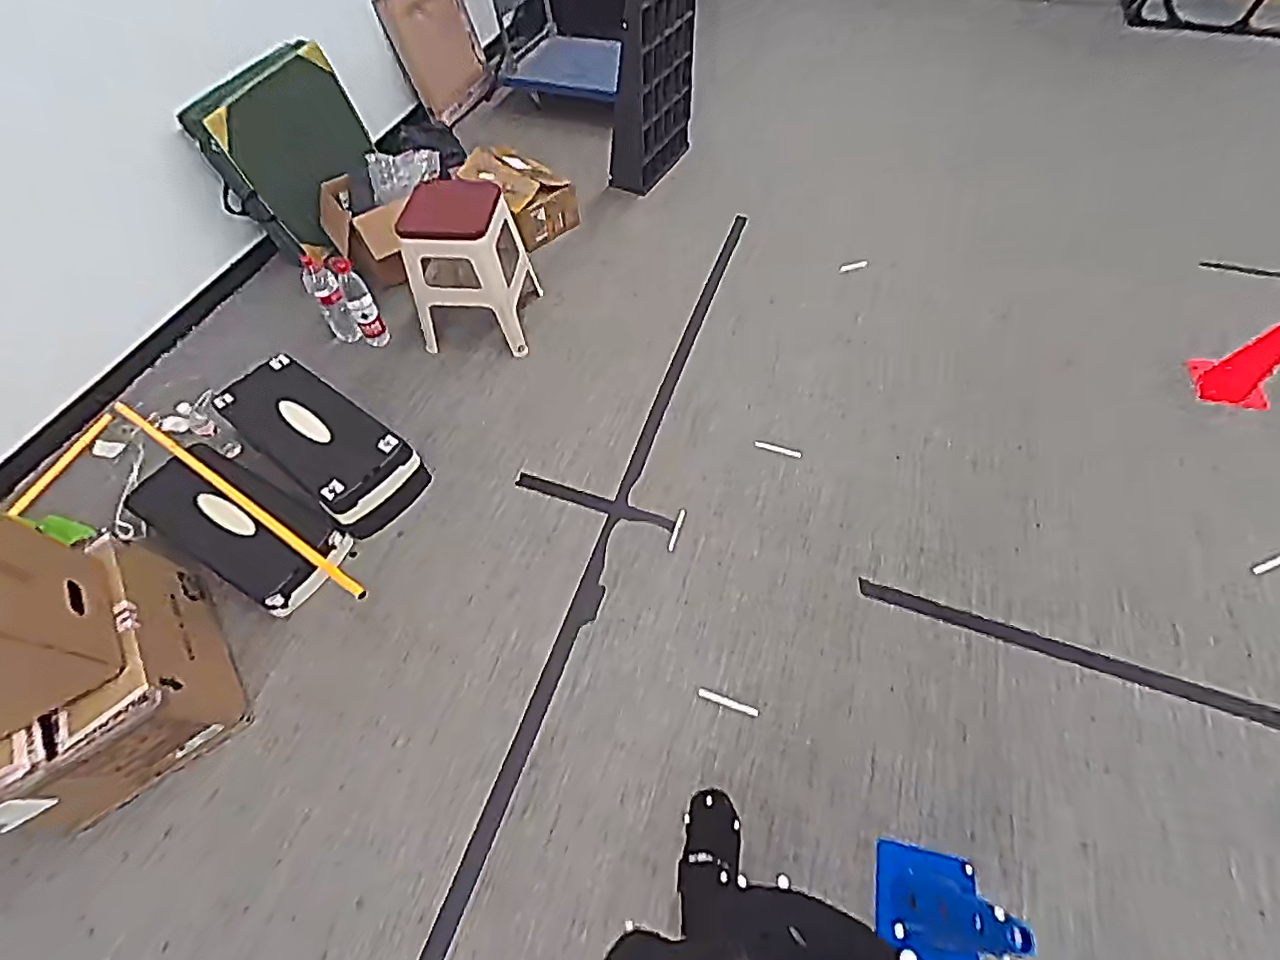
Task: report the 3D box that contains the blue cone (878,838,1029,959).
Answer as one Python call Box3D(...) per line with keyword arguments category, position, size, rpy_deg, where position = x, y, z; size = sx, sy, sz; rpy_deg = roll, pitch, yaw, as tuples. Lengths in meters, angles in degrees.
Box3D(category="blue cone", position=(0.578, 0.774, 0.968), size=(0.193, 0.380, 0.192), rpy_deg=(11, 59, 10))

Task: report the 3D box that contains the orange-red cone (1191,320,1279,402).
Box3D(category="orange-red cone", position=(1.956, -0.435, 1.656), size=(0.199, 0.360, 0.198), rpy_deg=(11, 58, 12))
